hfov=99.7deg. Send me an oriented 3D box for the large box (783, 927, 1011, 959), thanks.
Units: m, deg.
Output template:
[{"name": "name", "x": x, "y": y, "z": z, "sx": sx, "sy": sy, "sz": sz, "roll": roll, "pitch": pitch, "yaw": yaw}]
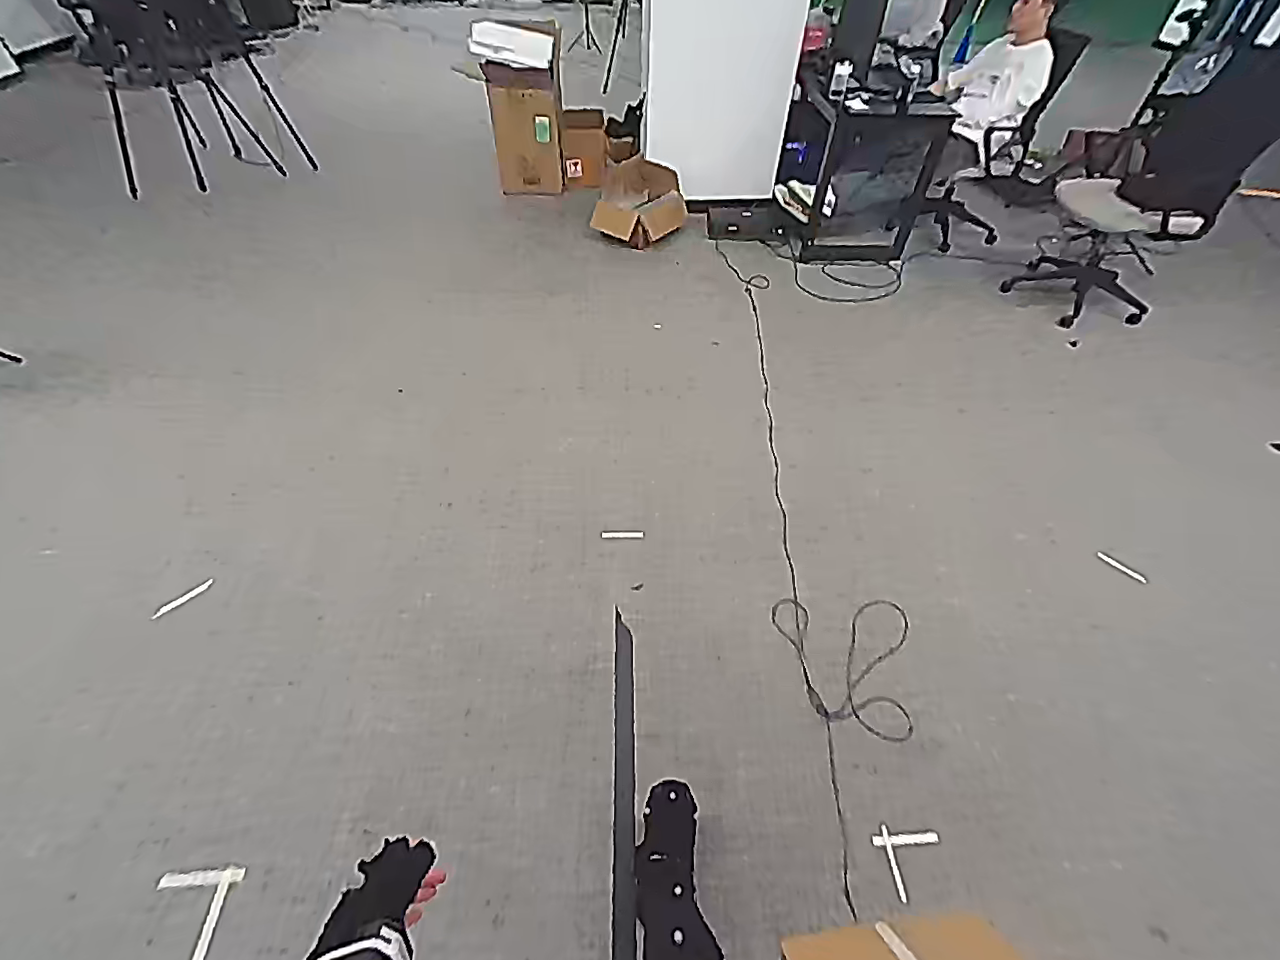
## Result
[{"name": "large box", "x": 0.386, "y": 0.797, "z": 0.591, "sx": 0.320, "sy": 0.408, "sz": 0.320, "roll": -3, "pitch": 79, "yaw": -6}]
